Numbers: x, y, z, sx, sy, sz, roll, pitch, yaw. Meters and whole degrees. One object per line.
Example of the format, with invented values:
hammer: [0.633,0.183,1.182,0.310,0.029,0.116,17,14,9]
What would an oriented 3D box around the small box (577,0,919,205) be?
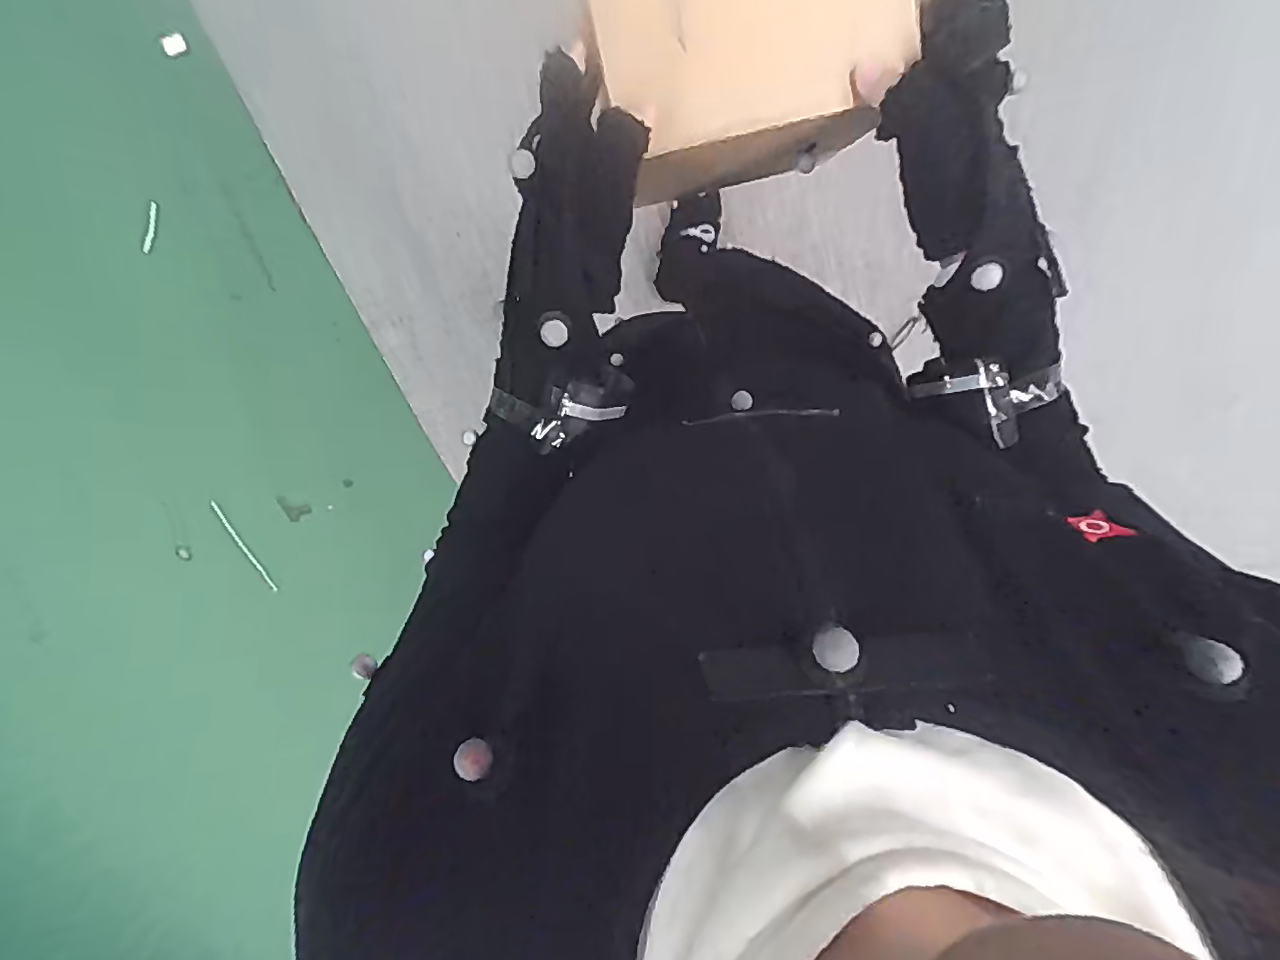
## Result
small box: [0.053,-0.302,0.359,0.179,0.176,0.168,-13,106,5]
